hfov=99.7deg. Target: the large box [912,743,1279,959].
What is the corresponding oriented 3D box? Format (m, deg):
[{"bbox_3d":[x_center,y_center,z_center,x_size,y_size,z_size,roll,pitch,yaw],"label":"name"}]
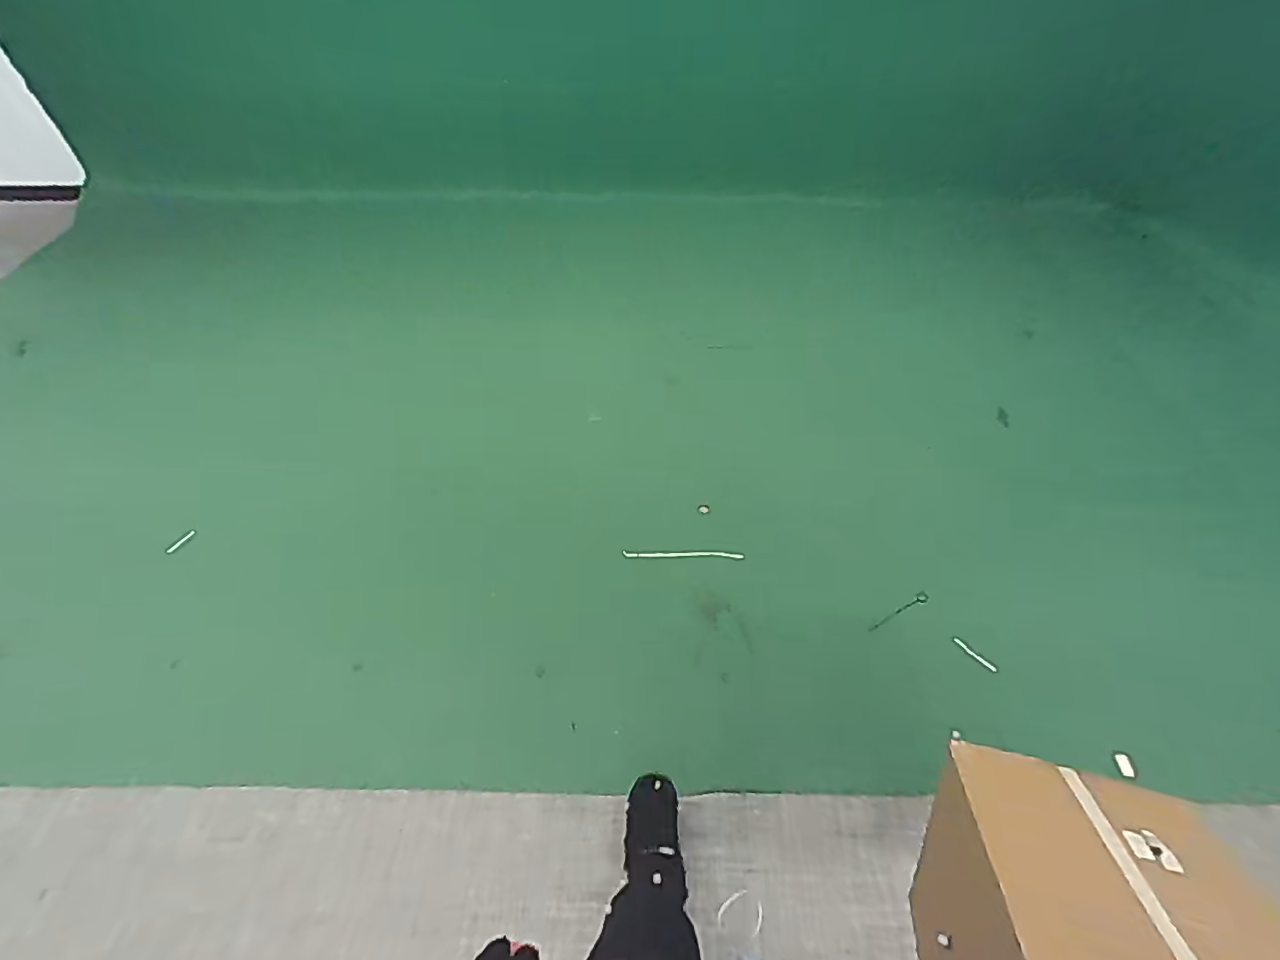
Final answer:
[{"bbox_3d":[0.561,0.625,0.670,0.320,0.320,0.408,10,14,16],"label":"large box"}]
